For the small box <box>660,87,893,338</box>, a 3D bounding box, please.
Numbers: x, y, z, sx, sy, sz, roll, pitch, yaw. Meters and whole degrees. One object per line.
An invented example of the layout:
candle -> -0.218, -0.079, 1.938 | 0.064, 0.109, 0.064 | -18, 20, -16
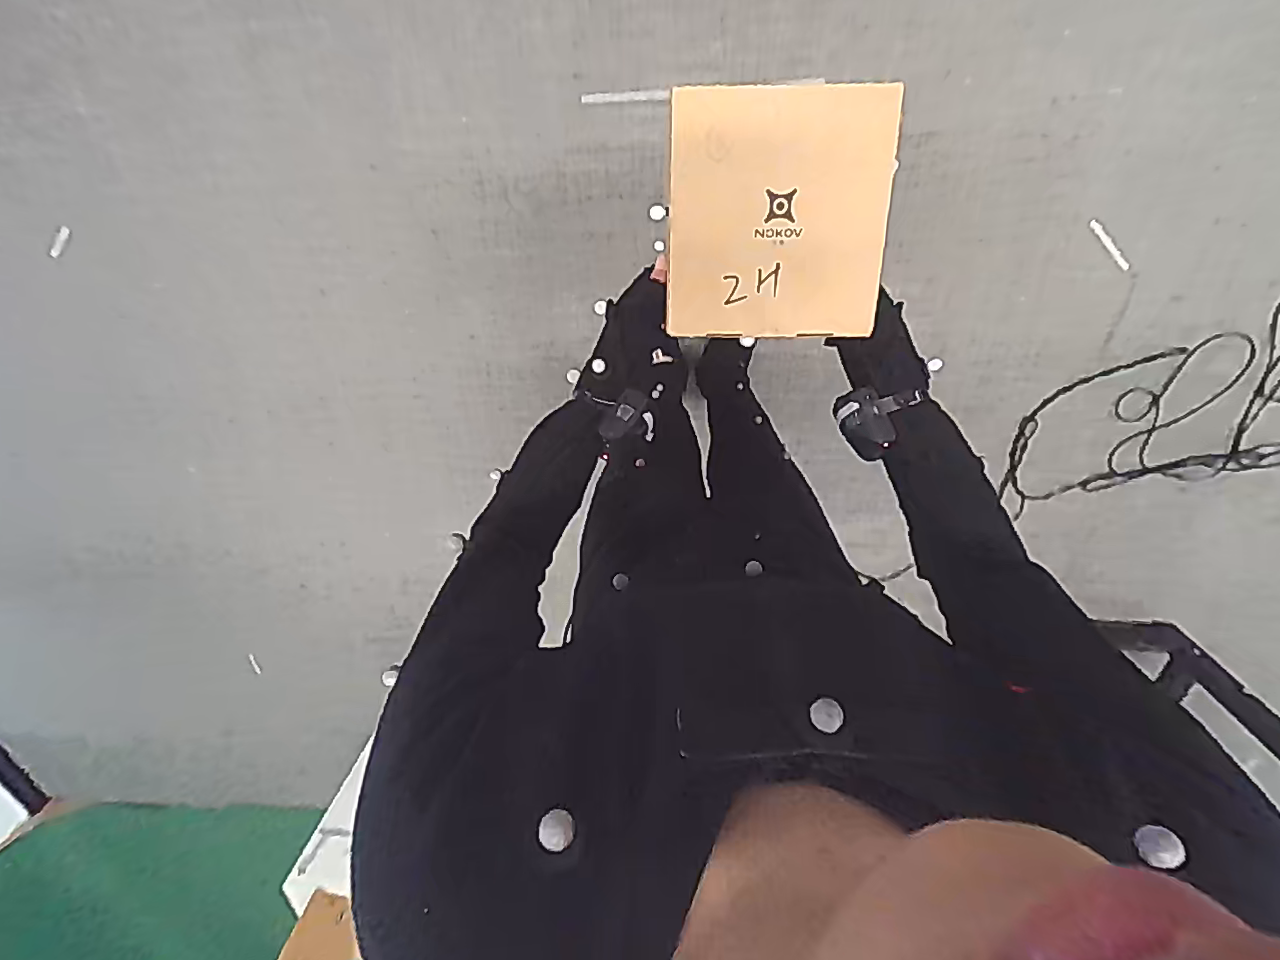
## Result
small box -> 0.103, -0.223, 0.491 | 0.168, 0.176, 0.179 | 1, 108, 2

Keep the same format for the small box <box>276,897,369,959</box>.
small box -> -0.841, 1.258, 1.435 | 0.168, 0.176, 0.179 | 14, 118, -2
